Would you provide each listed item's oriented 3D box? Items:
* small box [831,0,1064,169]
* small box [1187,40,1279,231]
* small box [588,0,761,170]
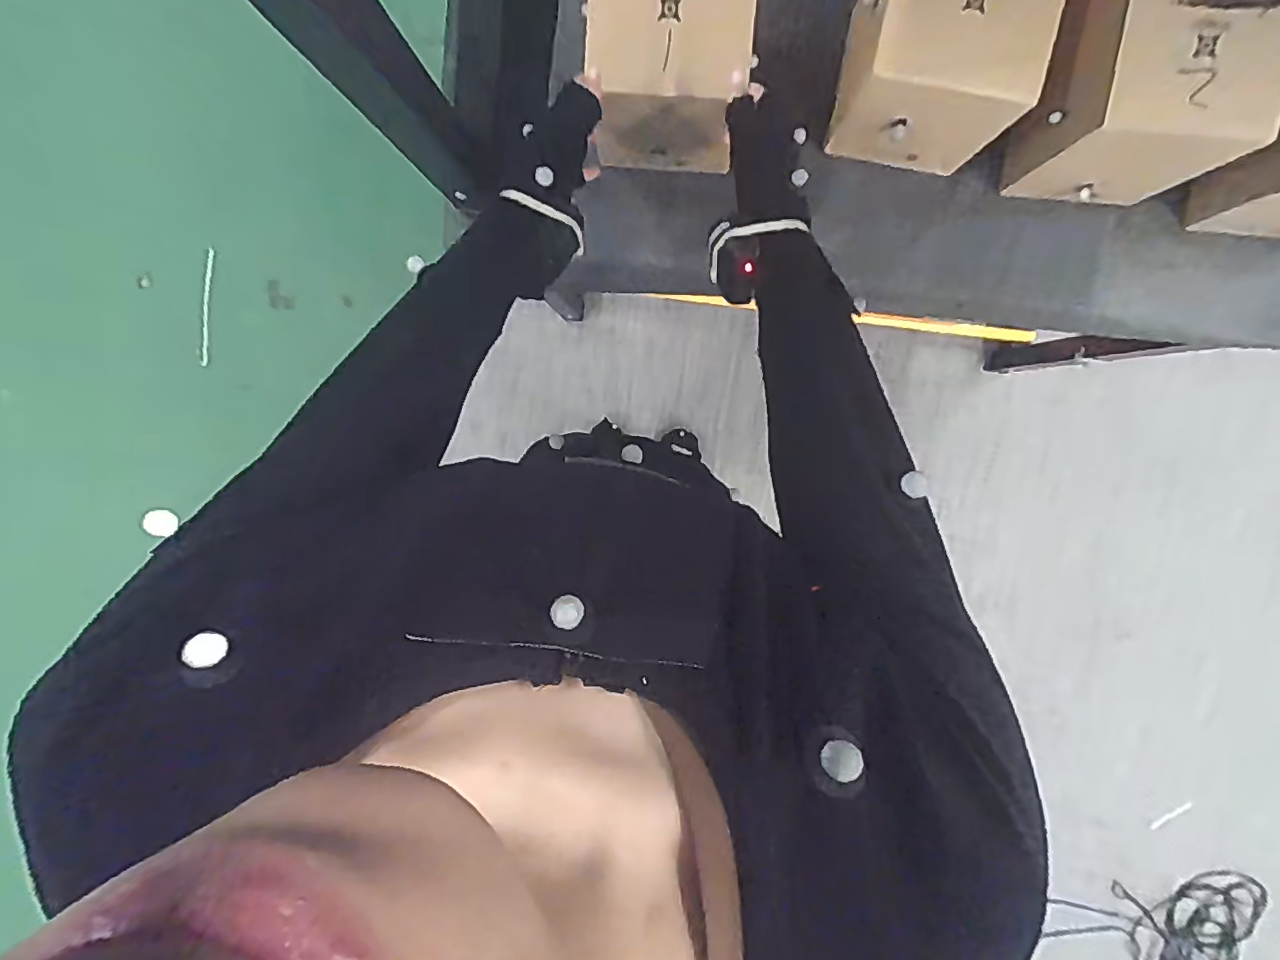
[{"bbox_3d":[0.327,-0.478,0.598,0.168,0.176,0.179,11,97,1],"label":"small box"},{"bbox_3d":[0.766,-0.386,0.589,0.168,0.176,0.179,6,97,1],"label":"small box"},{"bbox_3d":[0.038,-0.480,0.605,0.168,0.176,0.179,5,98,1],"label":"small box"}]
